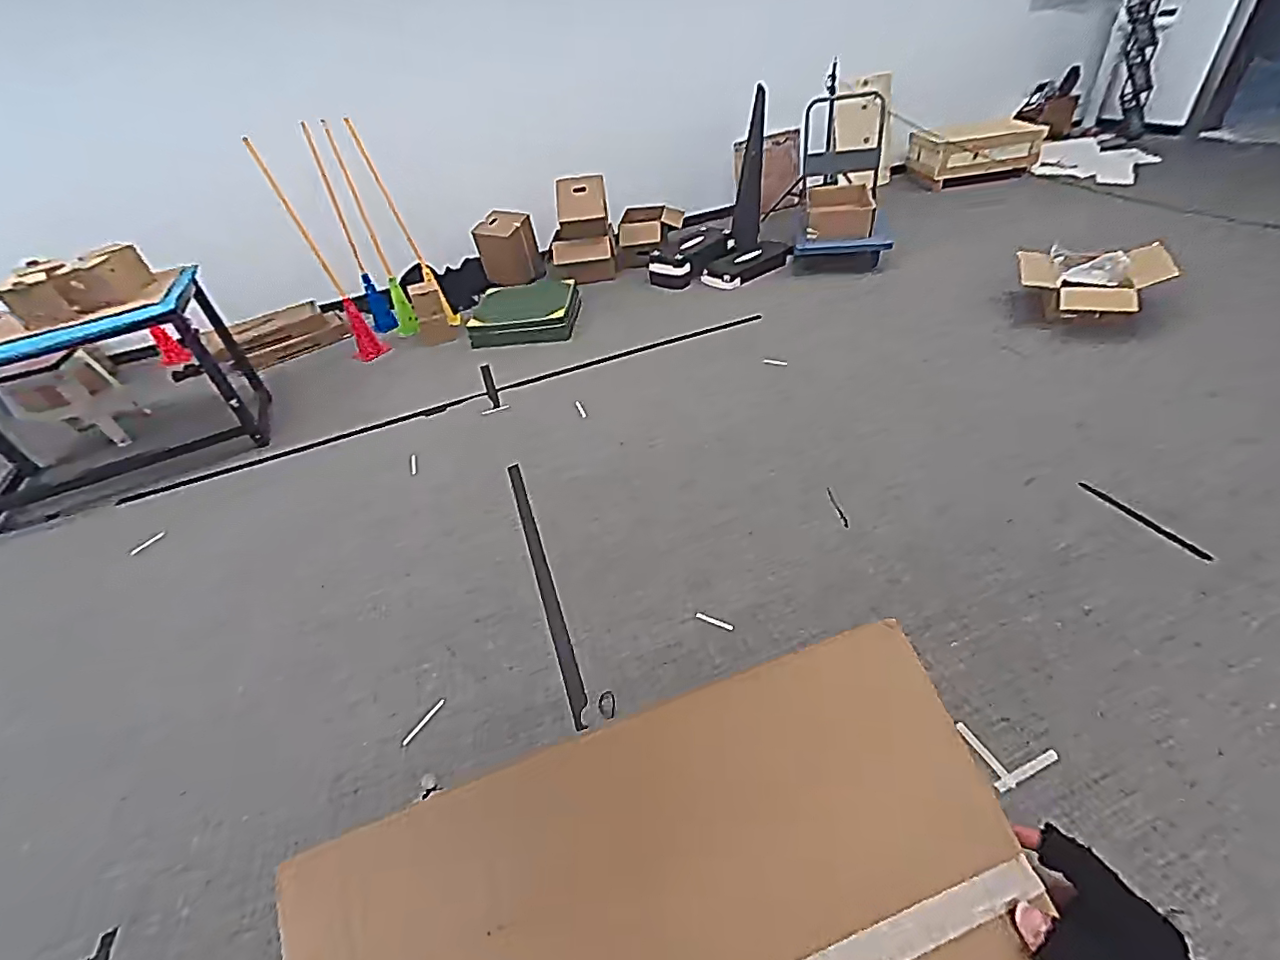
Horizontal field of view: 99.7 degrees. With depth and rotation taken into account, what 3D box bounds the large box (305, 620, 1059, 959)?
[{"bbox_3d":[0.034,0.352,0.434,0.408,0.320,0.320,-19,70,-8],"label":"large box"}]
